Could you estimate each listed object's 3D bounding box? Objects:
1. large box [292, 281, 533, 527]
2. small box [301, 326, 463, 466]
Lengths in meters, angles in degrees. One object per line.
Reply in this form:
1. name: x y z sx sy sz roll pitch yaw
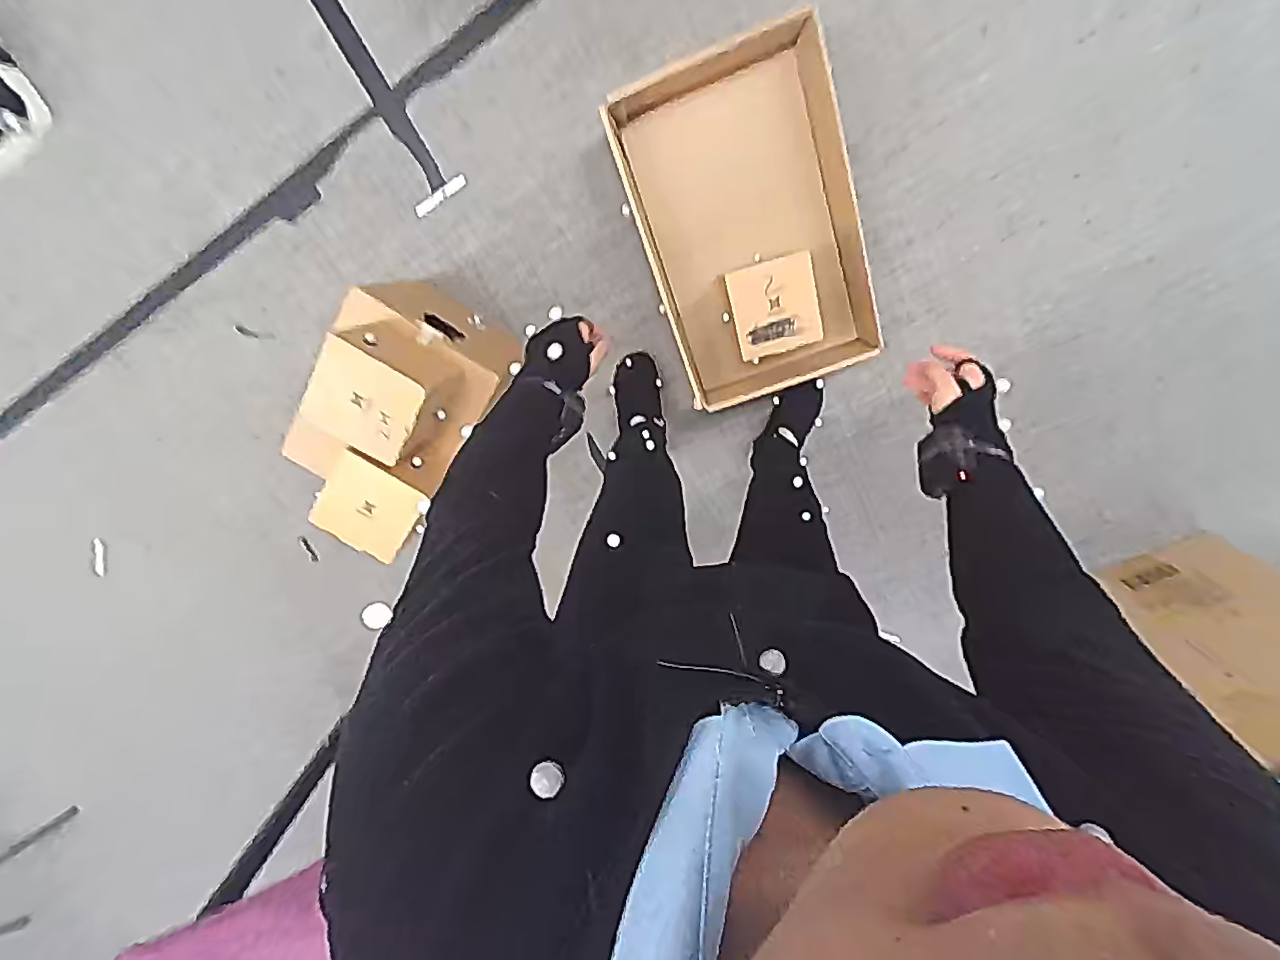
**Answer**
1. large box: -0.491 -0.182 1.221 0.320 0.320 0.408 32 111 -9
2. small box: -0.450 -0.158 0.963 0.179 0.176 0.168 31 112 -10
